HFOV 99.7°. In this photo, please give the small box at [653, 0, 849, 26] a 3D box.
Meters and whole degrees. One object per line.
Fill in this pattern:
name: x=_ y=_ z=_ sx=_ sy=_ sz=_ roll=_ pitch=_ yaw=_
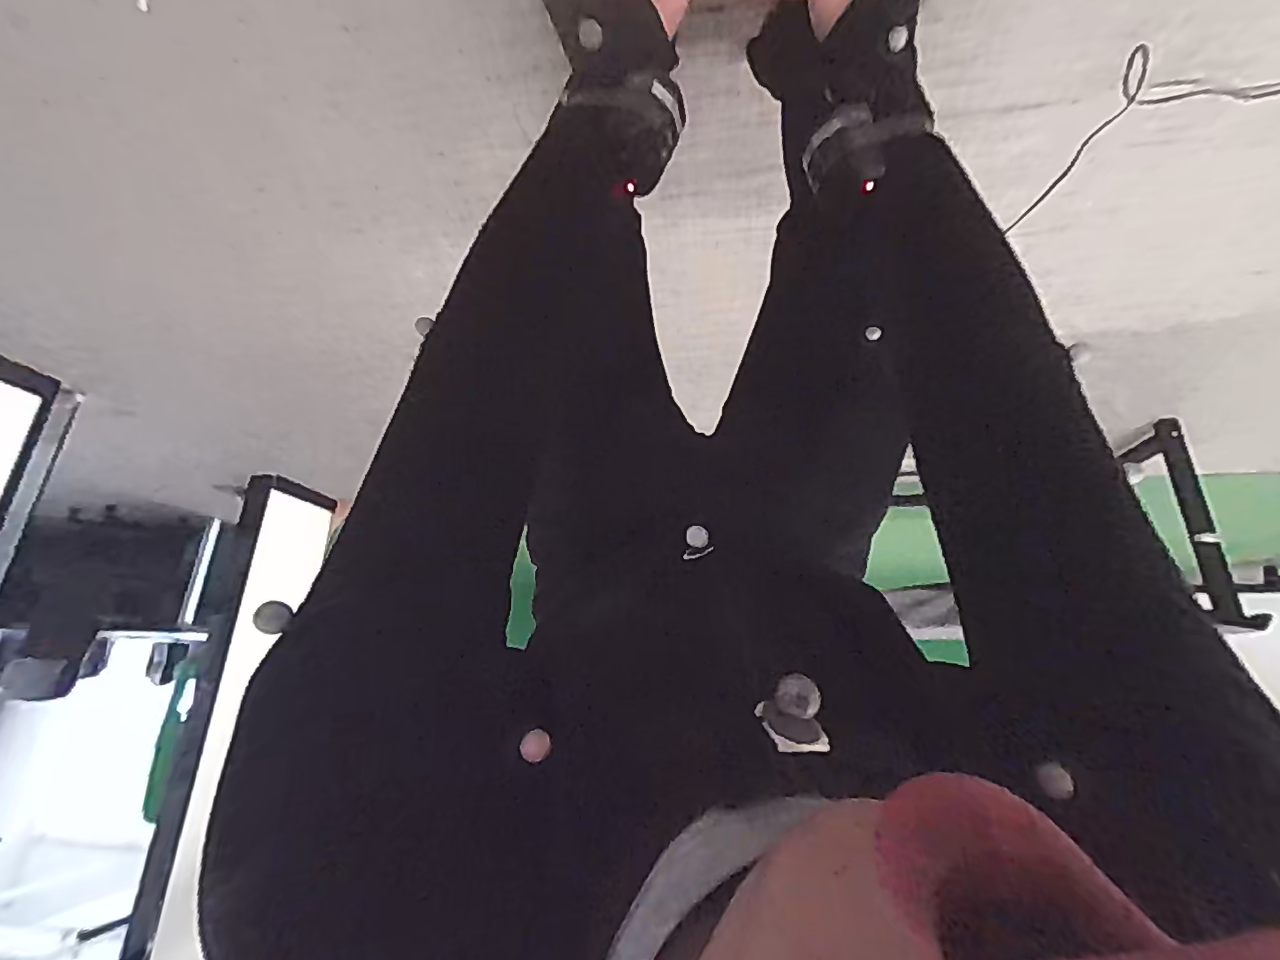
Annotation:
small box: x=0.092 y=-0.502 z=0.415 sx=0.168 sy=0.176 sz=0.179 roll=3 pitch=155 yaw=11
